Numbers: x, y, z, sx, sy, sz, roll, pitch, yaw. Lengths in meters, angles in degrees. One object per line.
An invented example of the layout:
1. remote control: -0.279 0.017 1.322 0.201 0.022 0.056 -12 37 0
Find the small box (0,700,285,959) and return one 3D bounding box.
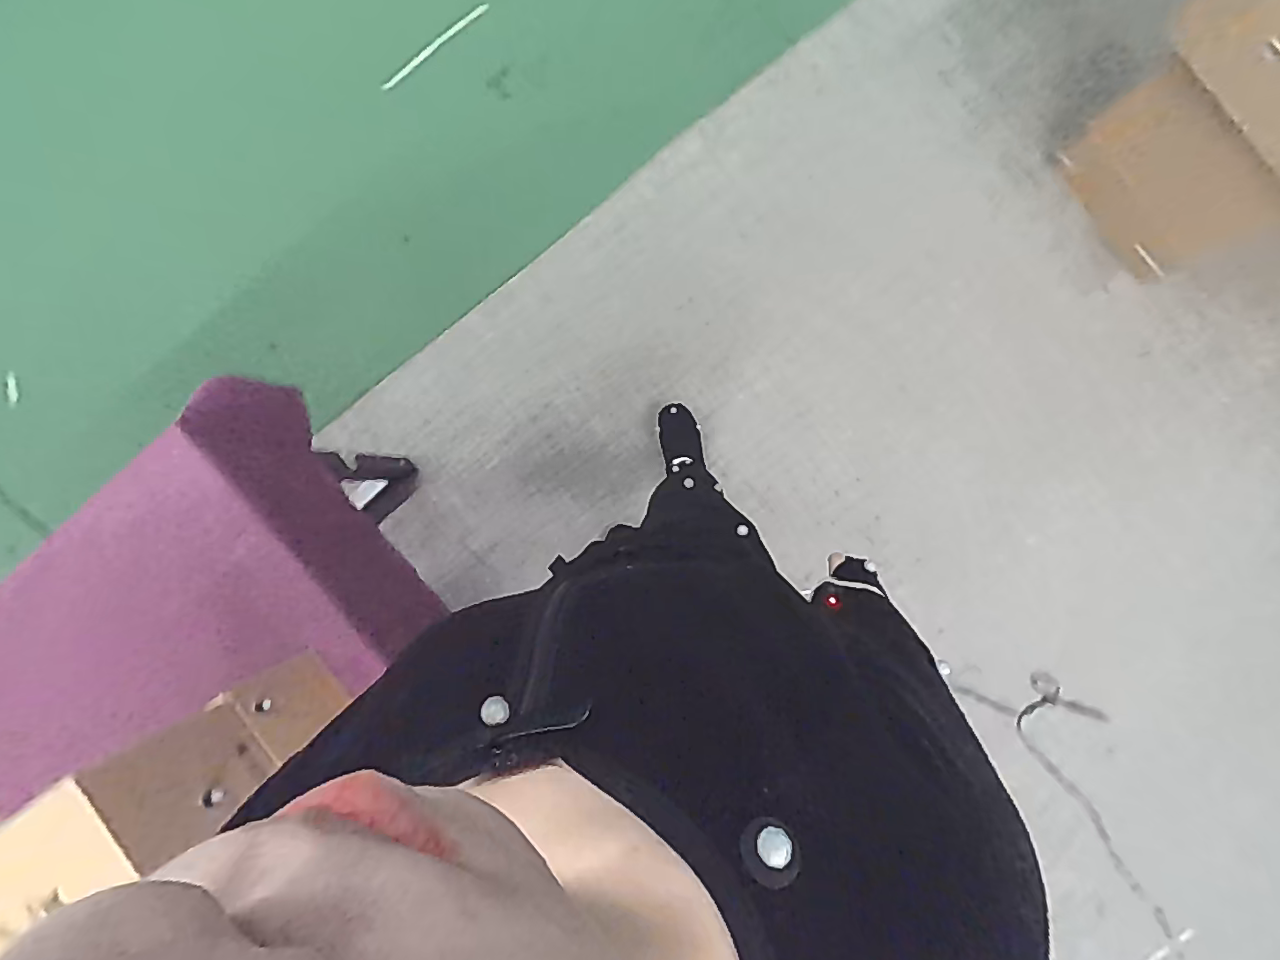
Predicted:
1. small box: -0.513 0.364 0.557 0.179 0.176 0.168 -36 88 3

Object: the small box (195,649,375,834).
1. small box: -0.499 0.359 0.721 0.168 0.176 0.179 -38 88 3
